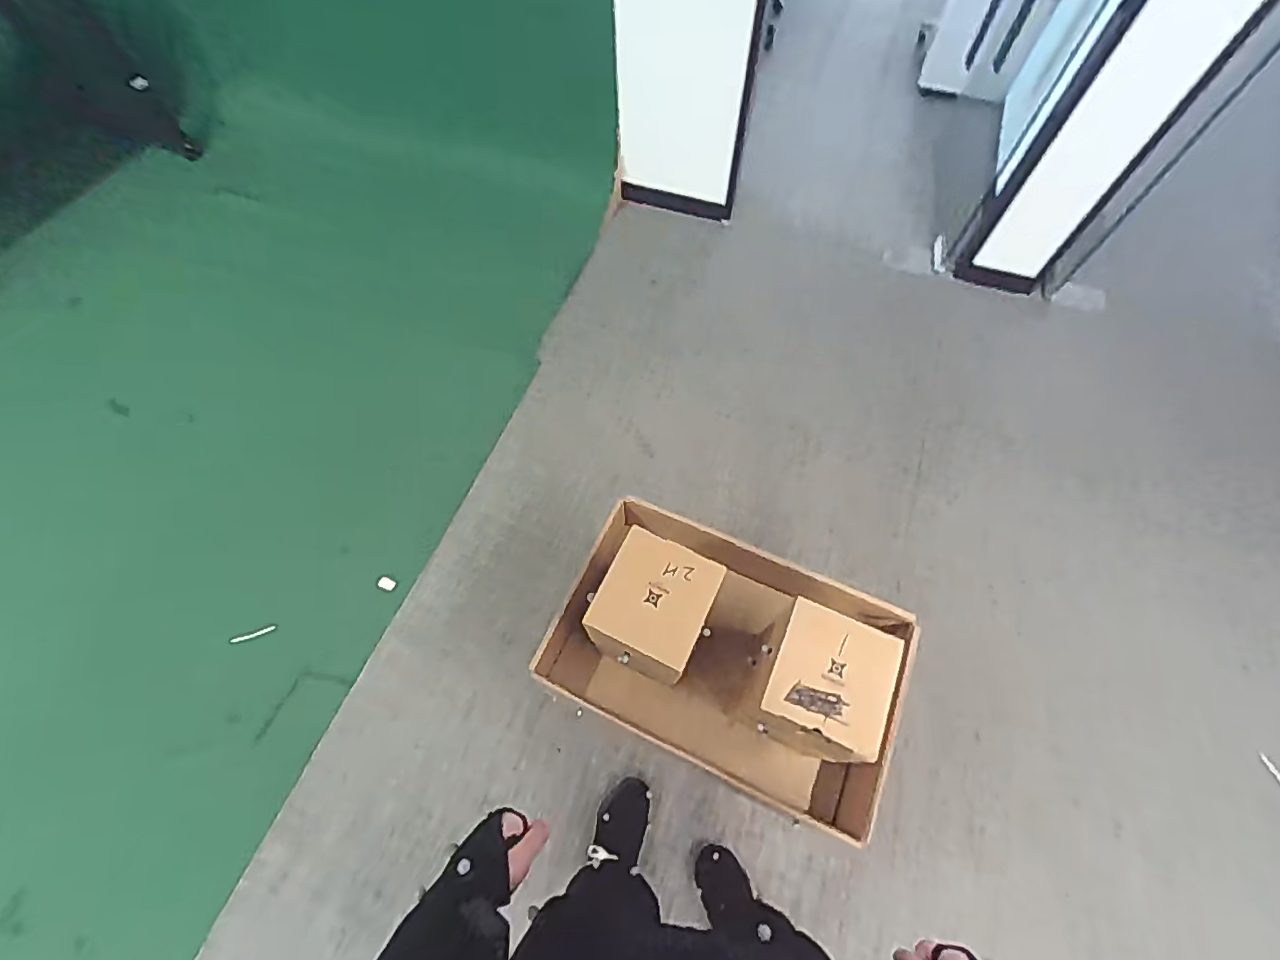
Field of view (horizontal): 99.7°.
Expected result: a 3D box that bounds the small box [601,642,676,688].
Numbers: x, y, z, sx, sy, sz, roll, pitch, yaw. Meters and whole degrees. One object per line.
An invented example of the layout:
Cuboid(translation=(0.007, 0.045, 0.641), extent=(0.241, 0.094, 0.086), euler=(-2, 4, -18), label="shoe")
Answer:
Cuboid(translation=(0.029, 0.276, 1.043), extent=(0.168, 0.176, 0.179), euler=(25, 66, 14), label="small box")

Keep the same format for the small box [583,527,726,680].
Cuboid(translation=(0.026, 0.211, 0.892), extent=(0.168, 0.176, 0.179), euler=(25, 67, 11), label="small box")

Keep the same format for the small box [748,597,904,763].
Cuboid(translation=(0.277, 0.313, 0.840), extent=(0.168, 0.176, 0.179), euler=(23, 66, 11), label="small box")

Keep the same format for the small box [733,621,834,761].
Cuboid(translation=(0.278, 0.387, 0.987), extent=(0.168, 0.176, 0.179), euler=(23, 66, 12), label="small box")
